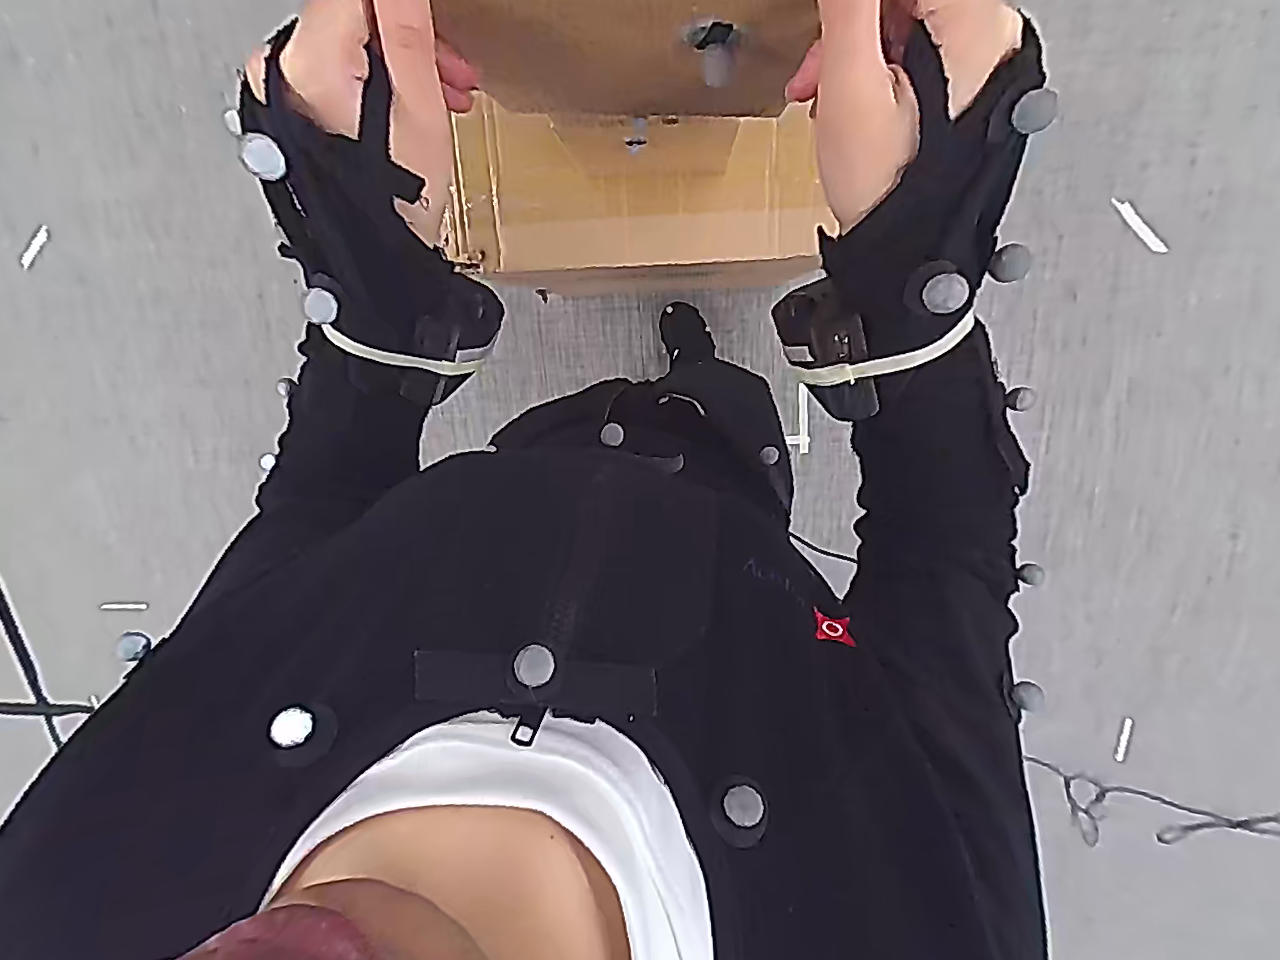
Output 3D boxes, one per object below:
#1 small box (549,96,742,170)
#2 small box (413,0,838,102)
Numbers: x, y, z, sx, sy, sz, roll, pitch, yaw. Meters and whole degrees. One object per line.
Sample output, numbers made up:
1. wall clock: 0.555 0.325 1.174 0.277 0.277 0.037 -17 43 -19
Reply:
1. small box: 0.011 -0.425 0.543 0.179 0.176 0.168 1 106 4
2. small box: -0.001 -0.283 0.231 0.179 0.176 0.168 3 111 4
